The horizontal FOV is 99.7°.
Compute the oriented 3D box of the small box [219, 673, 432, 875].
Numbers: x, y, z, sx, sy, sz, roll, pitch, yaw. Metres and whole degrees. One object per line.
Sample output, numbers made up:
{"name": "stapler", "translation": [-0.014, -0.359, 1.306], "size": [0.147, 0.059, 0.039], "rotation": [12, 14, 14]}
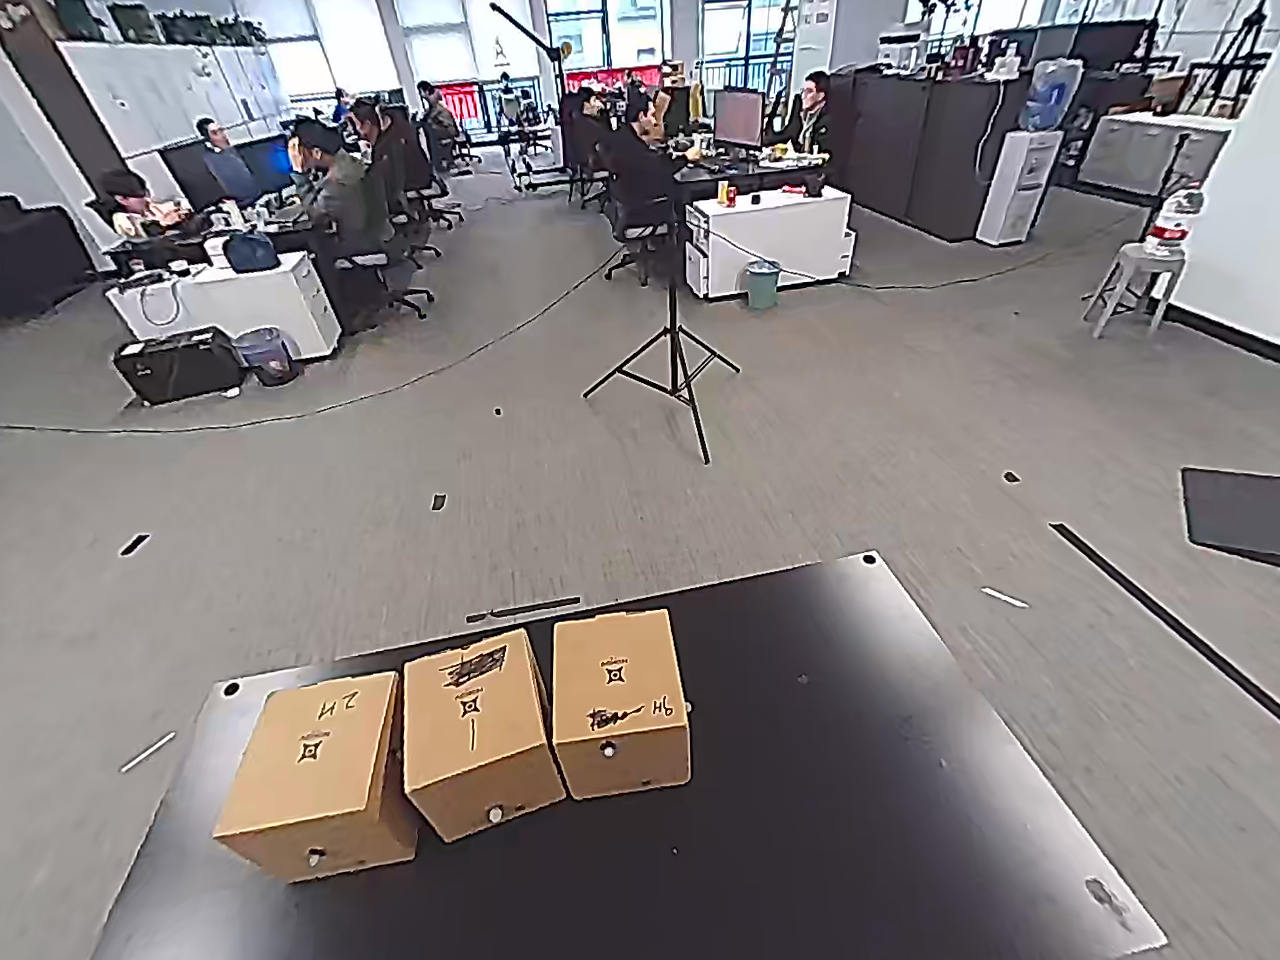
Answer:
{"name": "small box", "translation": [-0.388, 0.388, 0.709], "size": [0.168, 0.176, 0.179], "rotation": [-8, 38, -5]}
